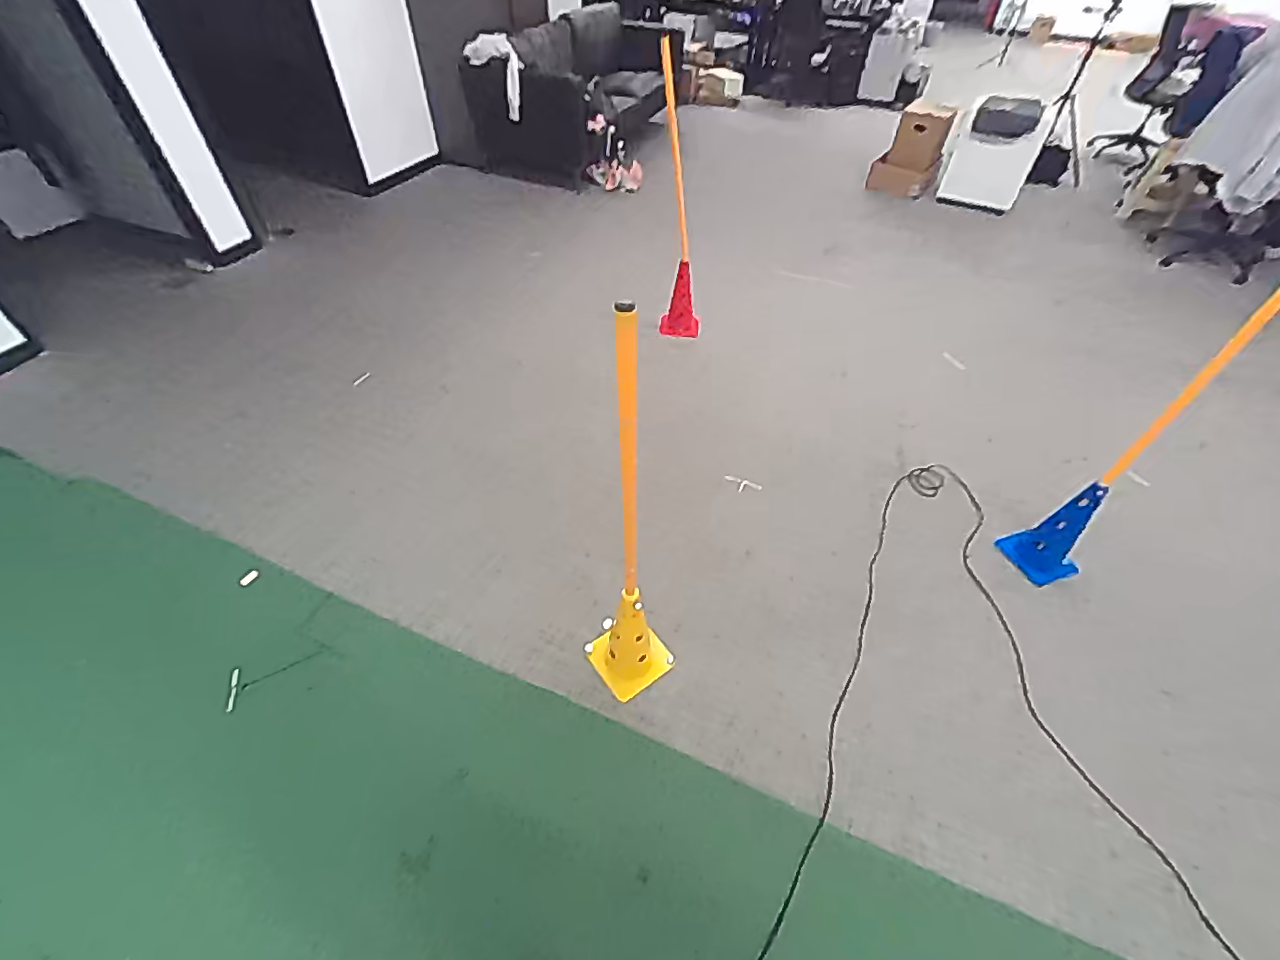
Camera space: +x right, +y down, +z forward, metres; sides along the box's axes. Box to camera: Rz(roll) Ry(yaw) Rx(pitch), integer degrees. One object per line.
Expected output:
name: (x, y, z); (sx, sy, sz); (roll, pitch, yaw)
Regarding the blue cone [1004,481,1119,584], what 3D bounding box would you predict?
blue cone: (1.369, 0.140, 1.720); (0.193, 0.380, 0.192); (-13, 48, -18)
